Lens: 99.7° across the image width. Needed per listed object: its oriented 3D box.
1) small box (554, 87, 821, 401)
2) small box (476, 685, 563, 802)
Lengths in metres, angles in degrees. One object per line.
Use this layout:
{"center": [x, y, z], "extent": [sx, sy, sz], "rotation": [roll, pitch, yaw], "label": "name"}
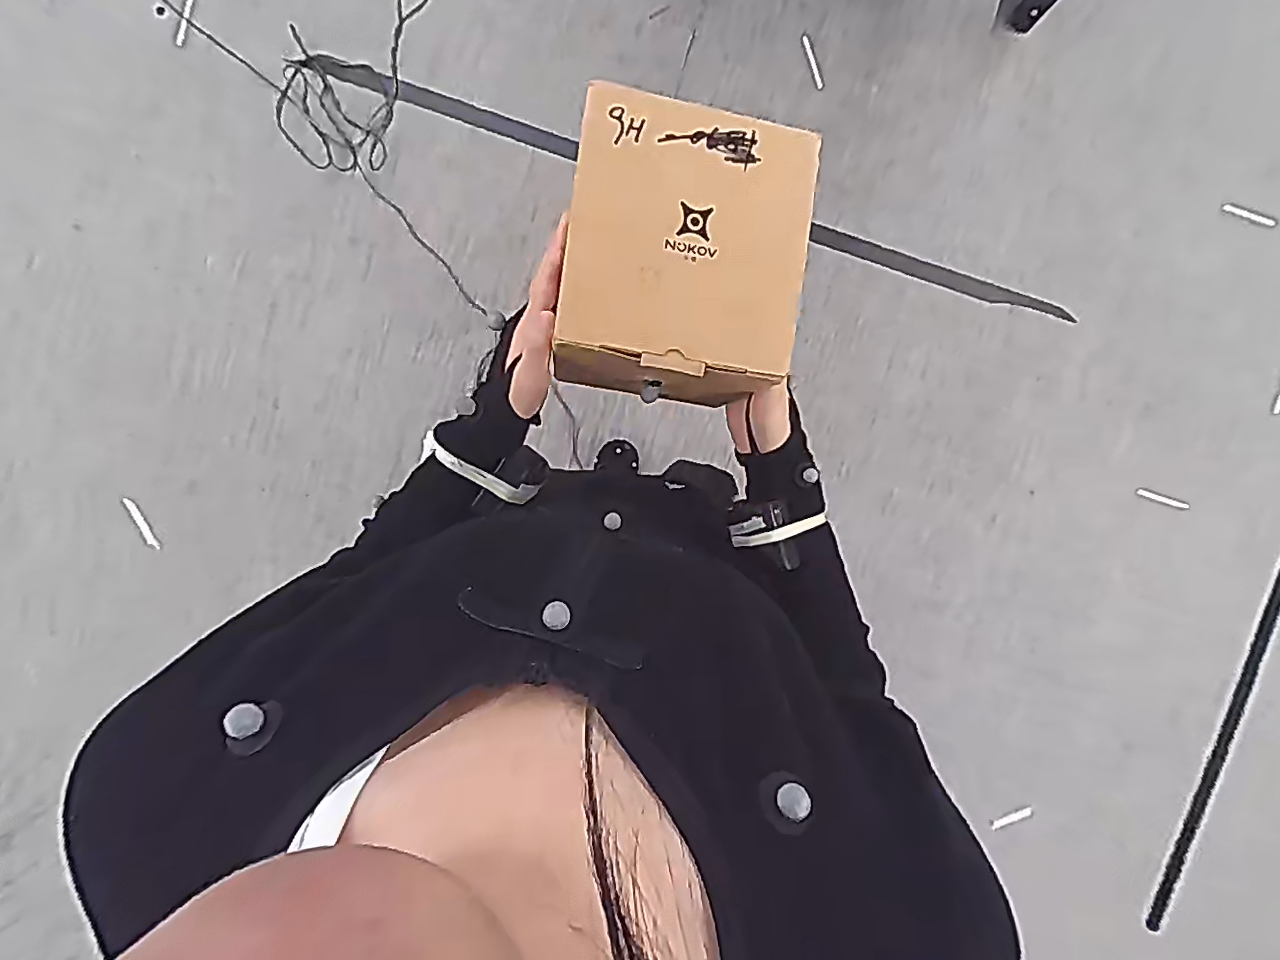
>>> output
{"center": [0.025, -0.168, 0.451], "extent": [0.168, 0.176, 0.179], "rotation": [8, 91, -8], "label": "small box"}
{"center": [-0.266, 0.568, 1.145], "extent": [0.168, 0.176, 0.179], "rotation": [14, 92, -2], "label": "small box"}
